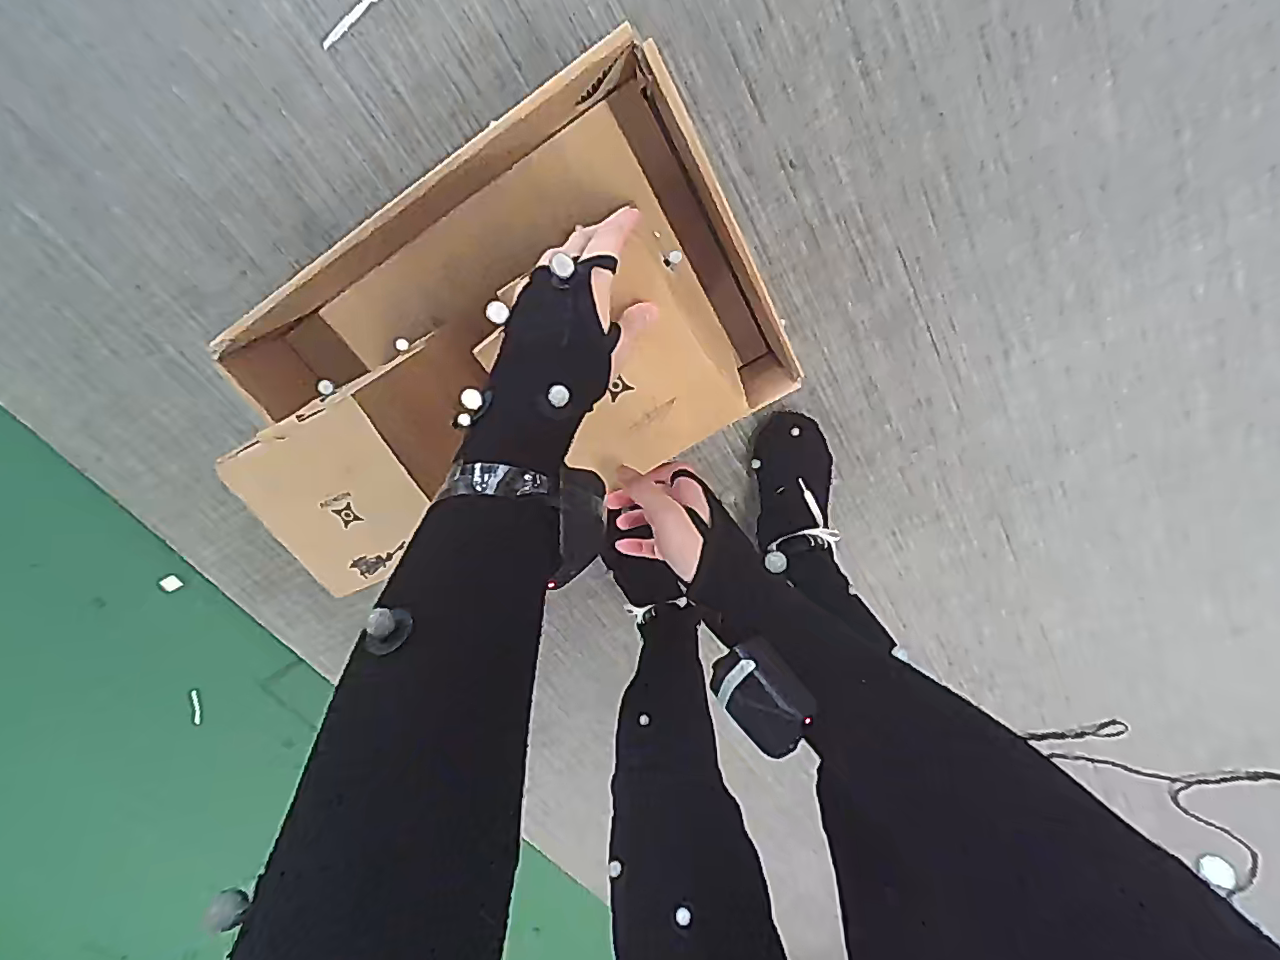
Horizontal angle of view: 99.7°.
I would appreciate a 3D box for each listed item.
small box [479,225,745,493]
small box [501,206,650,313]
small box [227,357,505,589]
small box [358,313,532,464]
[{"bbox_3d":[-0.019,-0.126,0.529,0.168,0.176,0.179,-30,114,19],"label":"small box"},{"bbox_3d":[-0.036,-0.212,0.668,0.168,0.176,0.179,-27,115,16],"label":"small box"},{"bbox_3d":[-0.275,-0.019,0.590,0.168,0.176,0.179,-22,115,13],"label":"small box"},{"bbox_3d":[-0.265,-0.098,0.733,0.168,0.176,0.179,-28,114,15],"label":"small box"}]
